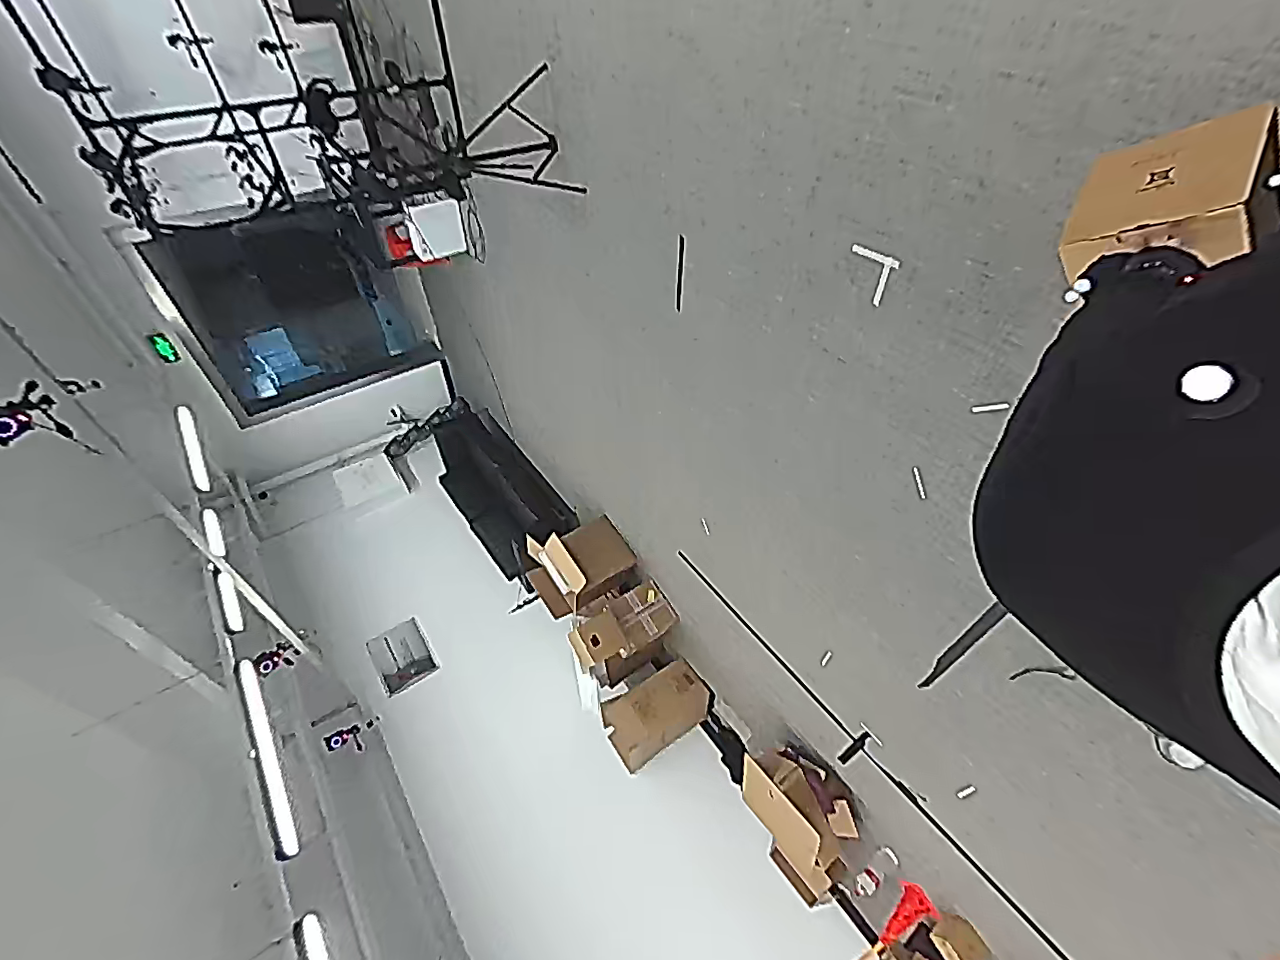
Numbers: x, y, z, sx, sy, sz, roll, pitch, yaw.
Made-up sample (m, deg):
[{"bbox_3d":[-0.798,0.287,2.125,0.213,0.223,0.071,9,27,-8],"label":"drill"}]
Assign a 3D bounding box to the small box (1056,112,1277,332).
[{"bbox_3d":[0.681,-0.310,0.698,0.176,0.179,0.168,42,162,-30],"label":"small box"}]
